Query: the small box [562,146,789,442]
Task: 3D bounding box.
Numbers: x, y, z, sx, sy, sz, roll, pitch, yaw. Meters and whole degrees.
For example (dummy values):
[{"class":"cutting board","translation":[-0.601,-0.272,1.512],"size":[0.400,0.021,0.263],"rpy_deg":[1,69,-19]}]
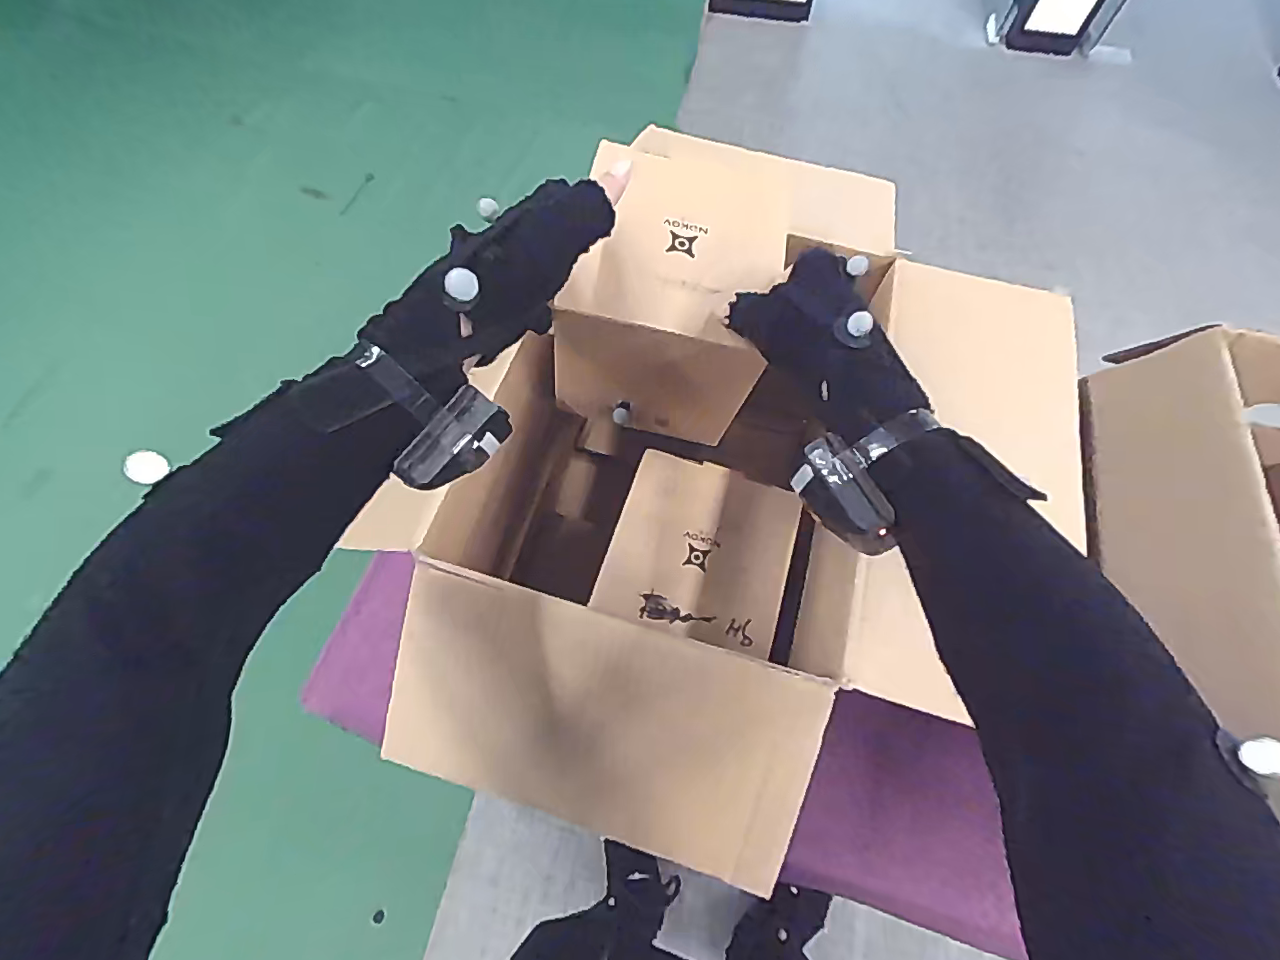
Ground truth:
[{"class":"small box","translation":[0.025,-0.159,0.503],"size":[0.168,0.176,0.179],"rpy_deg":[12,68,-2]}]
